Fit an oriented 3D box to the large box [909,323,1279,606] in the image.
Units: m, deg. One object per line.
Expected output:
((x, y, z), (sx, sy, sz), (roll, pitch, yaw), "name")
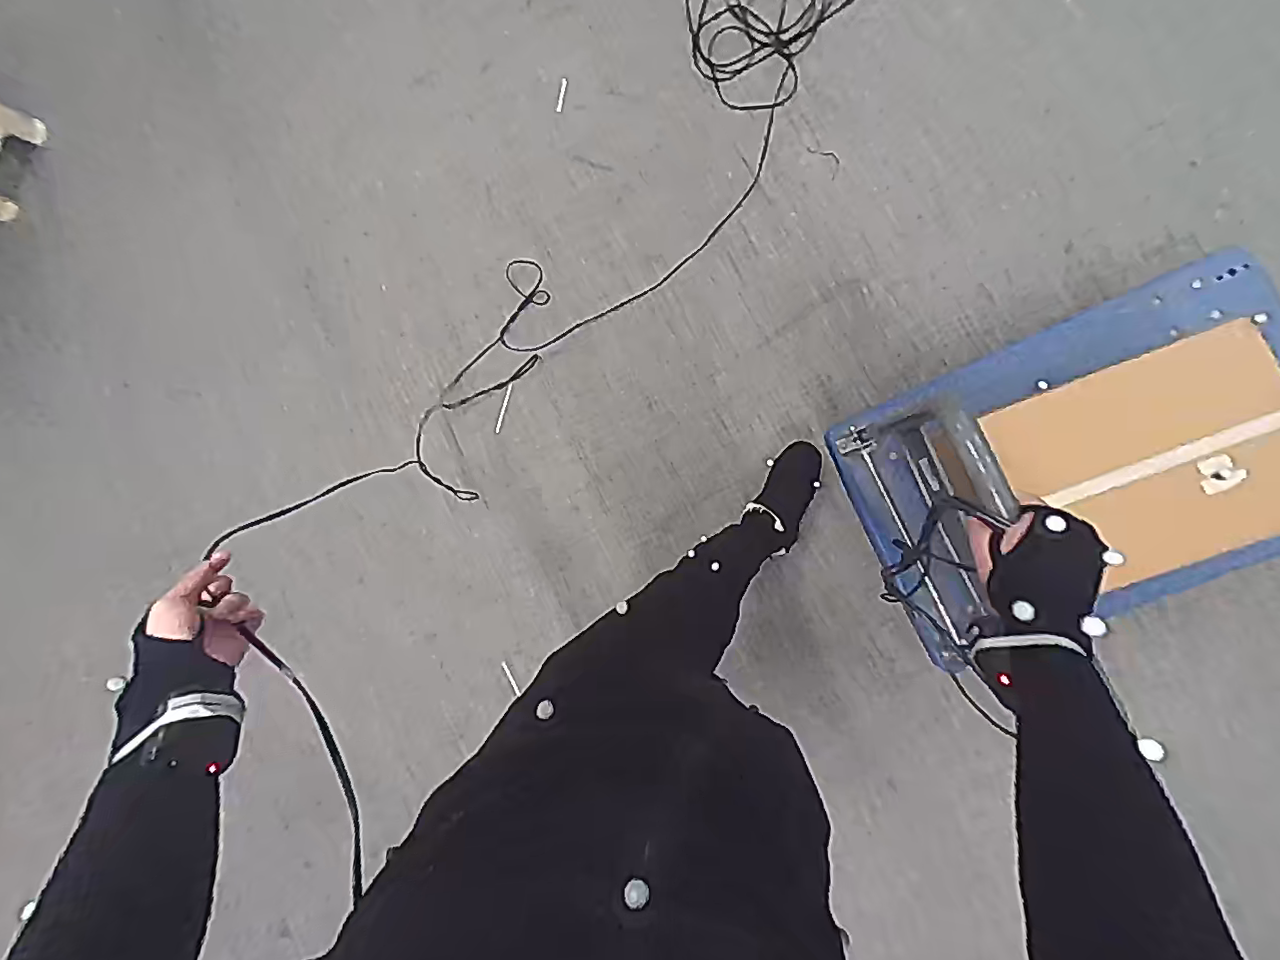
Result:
((0.780, -0.012, 0.965), (0.408, 0.320, 0.320), (-22, 85, 8), "large box")
